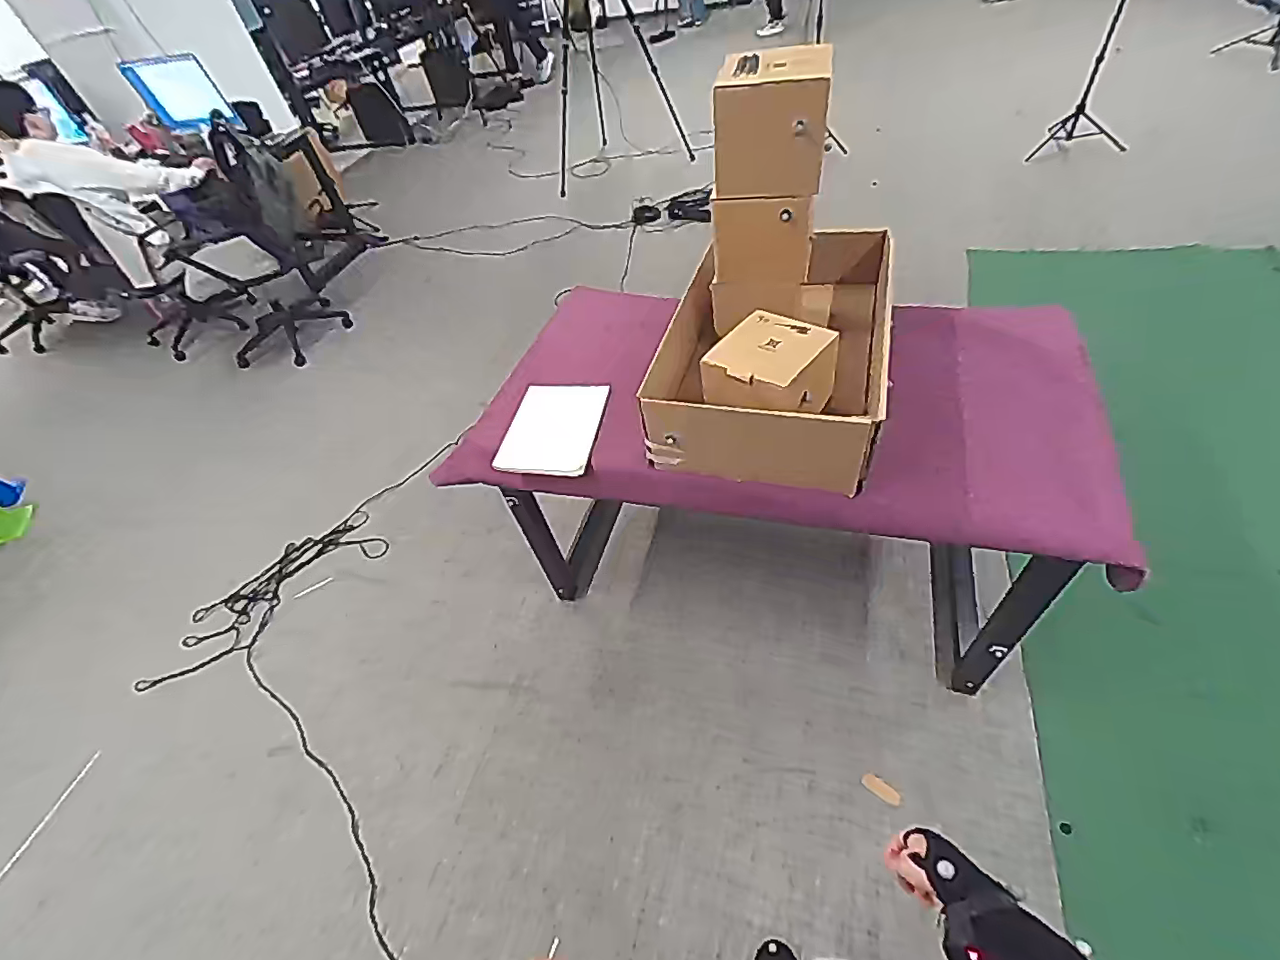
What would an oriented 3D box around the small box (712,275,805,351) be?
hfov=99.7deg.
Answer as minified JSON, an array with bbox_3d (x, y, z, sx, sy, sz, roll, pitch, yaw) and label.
[{"bbox_3d":[0.260,-0.398,1.163,0.168,0.176,0.179,9,54,18],"label":"small box"}]

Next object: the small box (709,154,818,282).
[{"bbox_3d":[0.239,-0.497,1.037,0.179,0.176,0.168,7,53,17],"label":"small box"}]
